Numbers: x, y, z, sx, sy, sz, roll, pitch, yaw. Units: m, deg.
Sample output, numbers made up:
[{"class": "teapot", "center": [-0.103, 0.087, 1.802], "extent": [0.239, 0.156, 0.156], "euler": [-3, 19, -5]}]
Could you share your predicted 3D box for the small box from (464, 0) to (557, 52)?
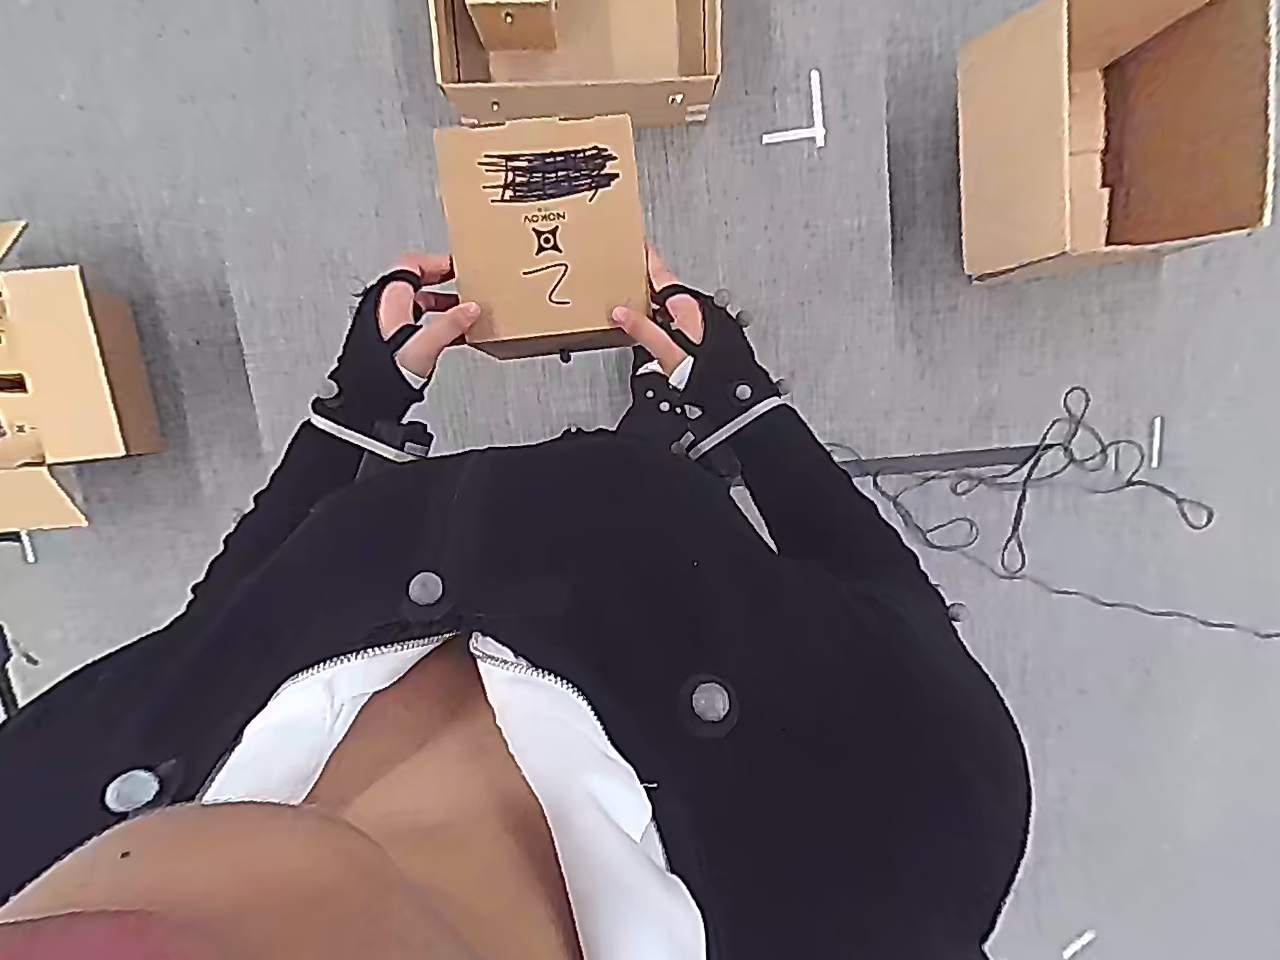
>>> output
[{"class": "small box", "center": [-0.285, -1.084, 1.194], "extent": [0.179, 0.176, 0.168], "euler": [-2, 101, -2]}]
